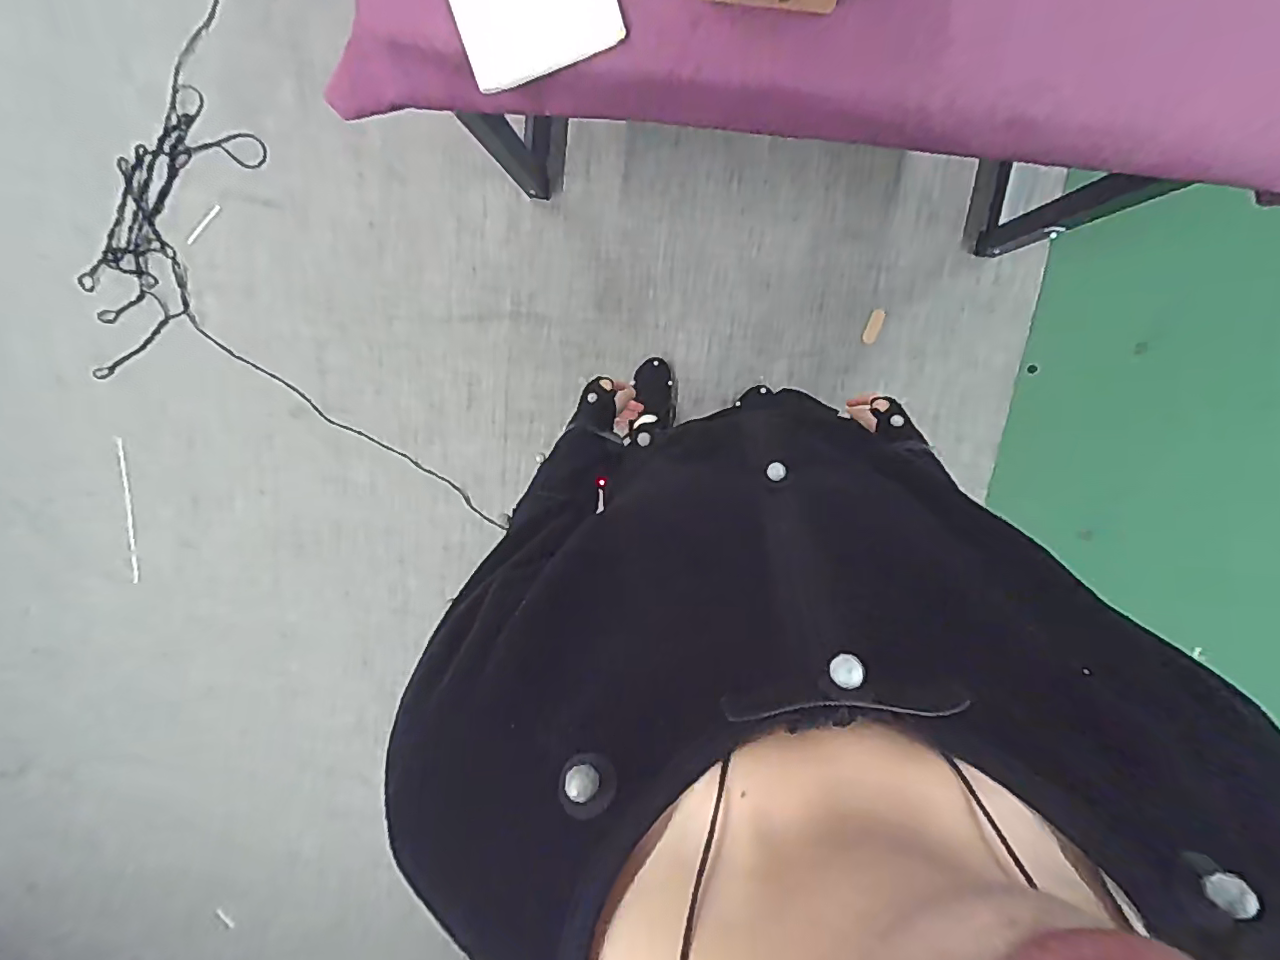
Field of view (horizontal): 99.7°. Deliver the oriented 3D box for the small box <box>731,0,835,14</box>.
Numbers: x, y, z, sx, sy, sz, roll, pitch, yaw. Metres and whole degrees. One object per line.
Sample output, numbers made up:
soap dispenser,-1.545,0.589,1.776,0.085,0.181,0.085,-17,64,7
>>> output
small box,0.157,-0.639,0.564,0.168,0.176,0.179,9,102,3
